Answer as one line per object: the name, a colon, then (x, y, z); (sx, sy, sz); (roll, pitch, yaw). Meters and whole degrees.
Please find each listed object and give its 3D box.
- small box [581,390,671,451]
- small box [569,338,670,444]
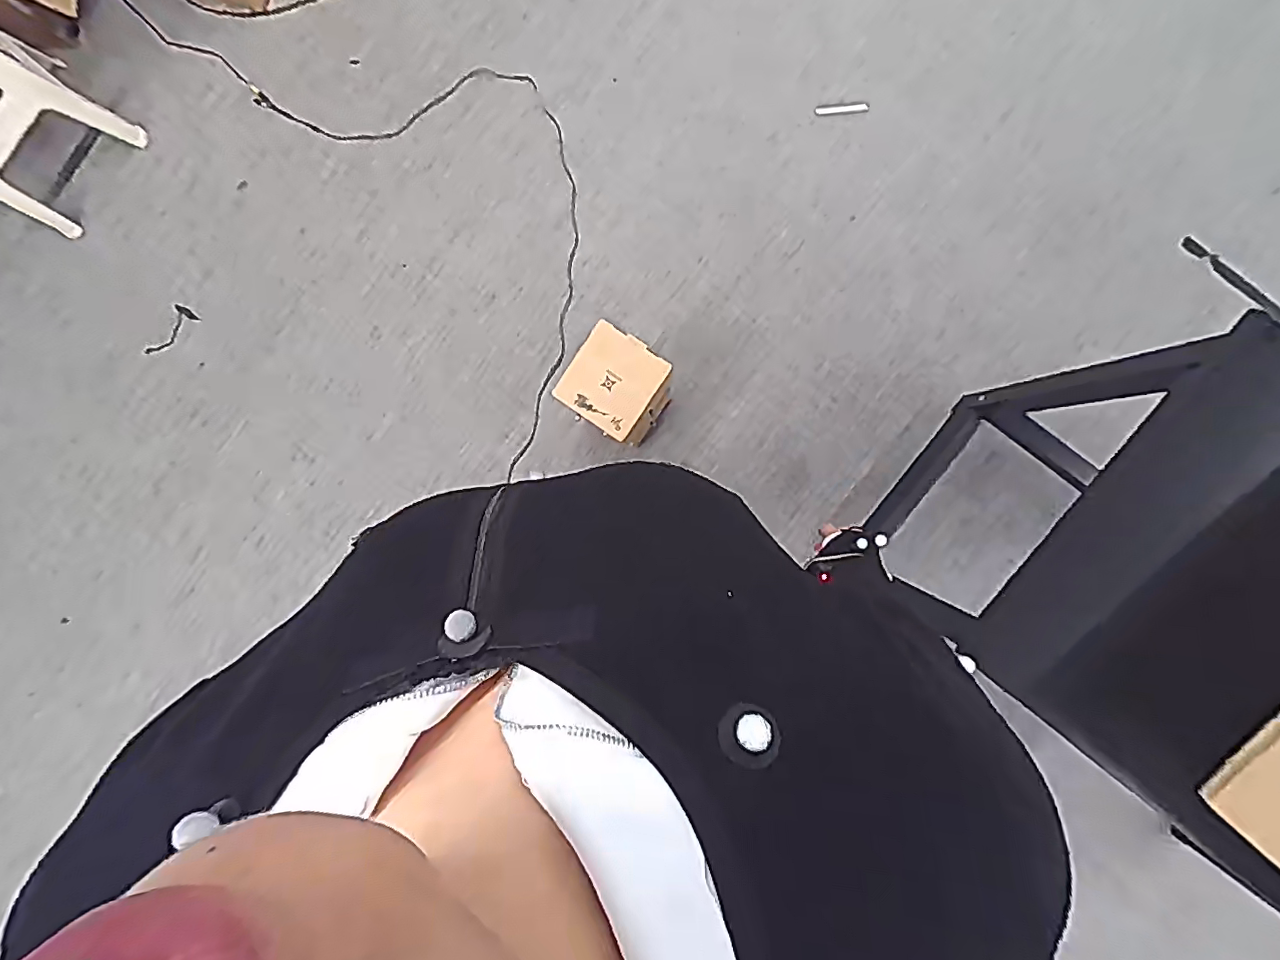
small box: (-0.033, -0.193, 1.423); (0.168, 0.176, 0.179); (35, 93, 3)
small box: (-0.041, -0.198, 1.261); (0.168, 0.176, 0.179); (31, 91, 2)
